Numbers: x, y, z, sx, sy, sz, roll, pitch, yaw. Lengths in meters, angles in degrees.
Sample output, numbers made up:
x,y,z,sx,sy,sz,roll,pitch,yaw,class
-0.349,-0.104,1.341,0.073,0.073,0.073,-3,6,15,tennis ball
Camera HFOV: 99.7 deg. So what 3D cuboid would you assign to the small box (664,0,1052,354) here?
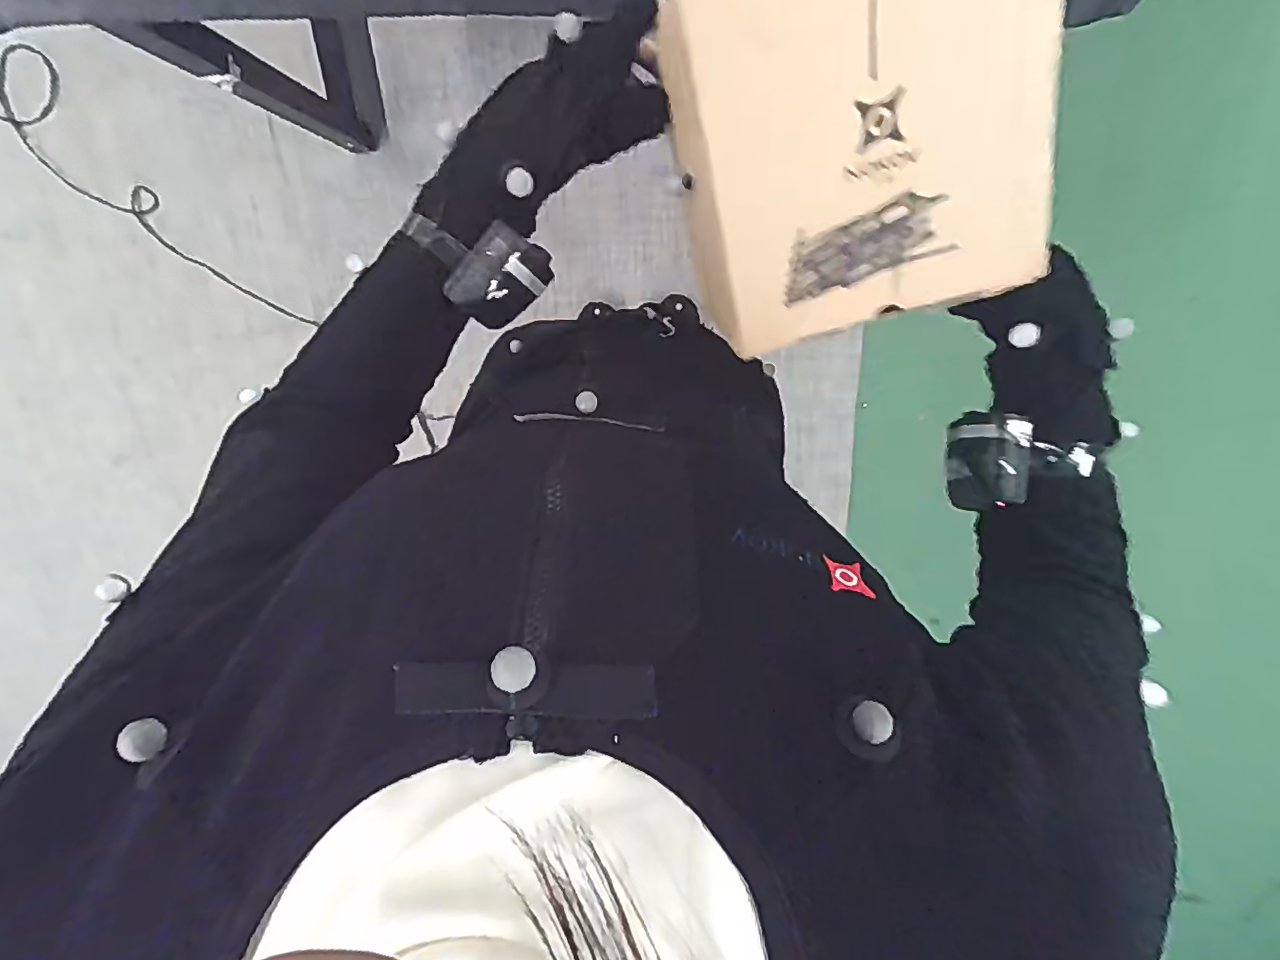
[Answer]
x,y,z,sx,sy,sz,roll,pitch,yaw,class
0.114,-0.201,0.342,0.168,0.176,0.179,-13,117,5,small box
